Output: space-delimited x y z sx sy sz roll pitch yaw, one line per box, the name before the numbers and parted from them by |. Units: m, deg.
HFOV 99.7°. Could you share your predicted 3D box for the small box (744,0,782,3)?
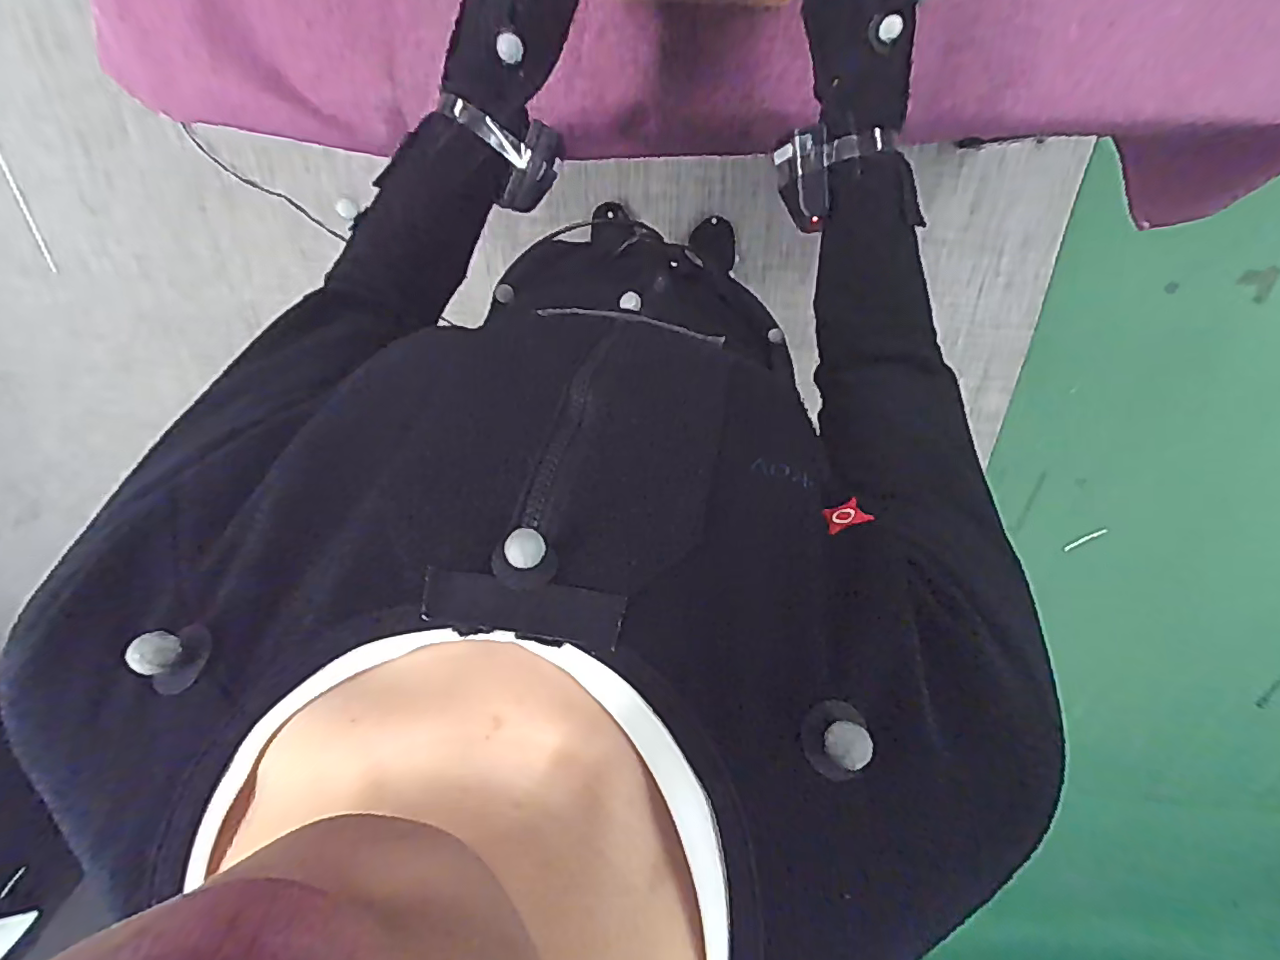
small box | 0.060 -0.489 0.400 0.168 0.176 0.179 5 118 2
